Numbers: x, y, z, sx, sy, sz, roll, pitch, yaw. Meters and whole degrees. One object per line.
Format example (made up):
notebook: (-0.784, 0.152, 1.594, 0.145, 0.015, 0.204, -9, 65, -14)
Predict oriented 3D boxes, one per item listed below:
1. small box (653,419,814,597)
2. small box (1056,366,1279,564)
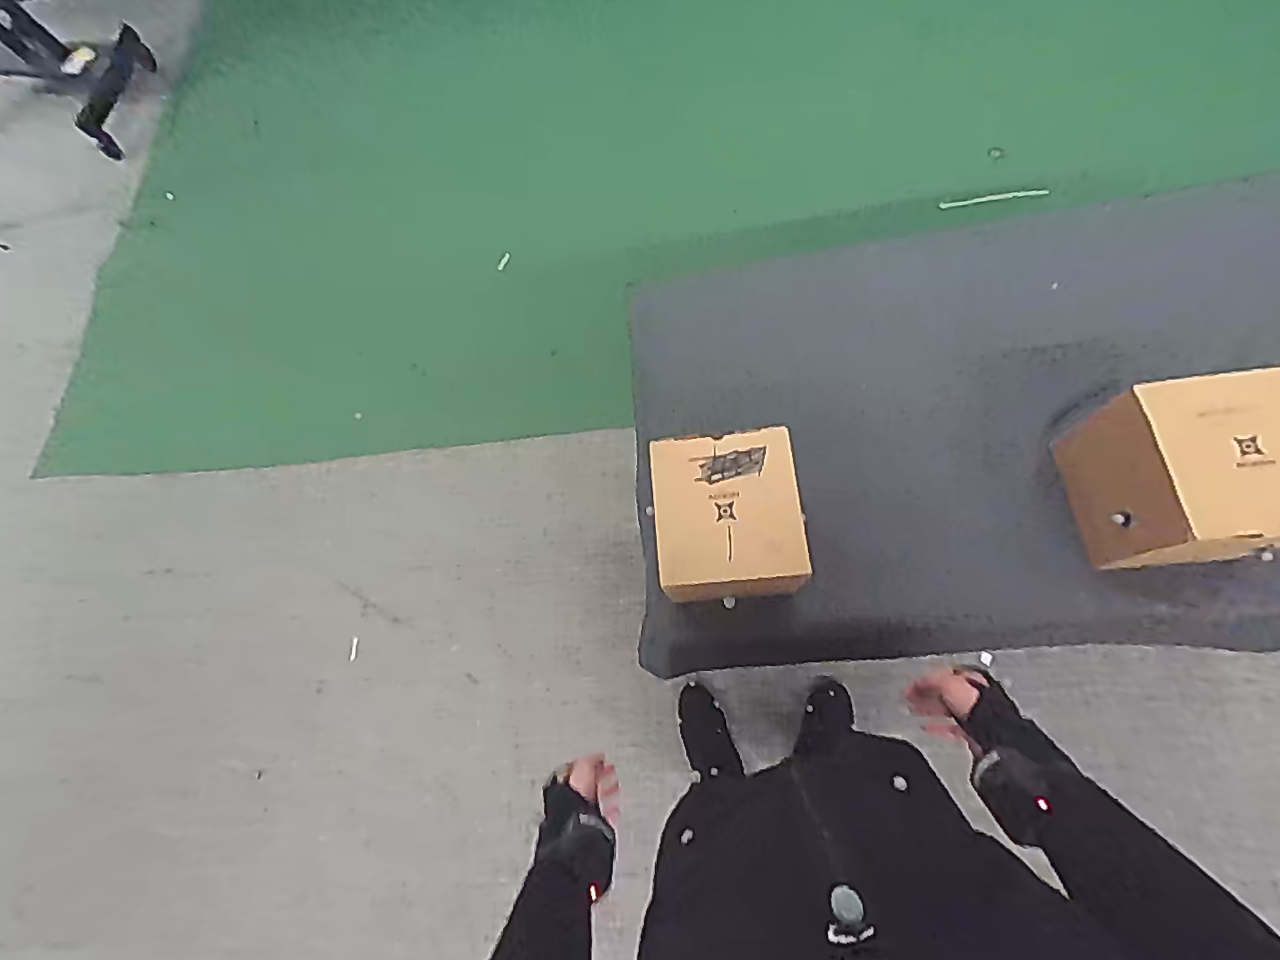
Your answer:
small box: (0.109, 0.044, 0.676, 0.168, 0.176, 0.179, -6, 71, 7)
small box: (0.625, -0.005, 0.610, 0.168, 0.176, 0.179, -6, 69, 6)
